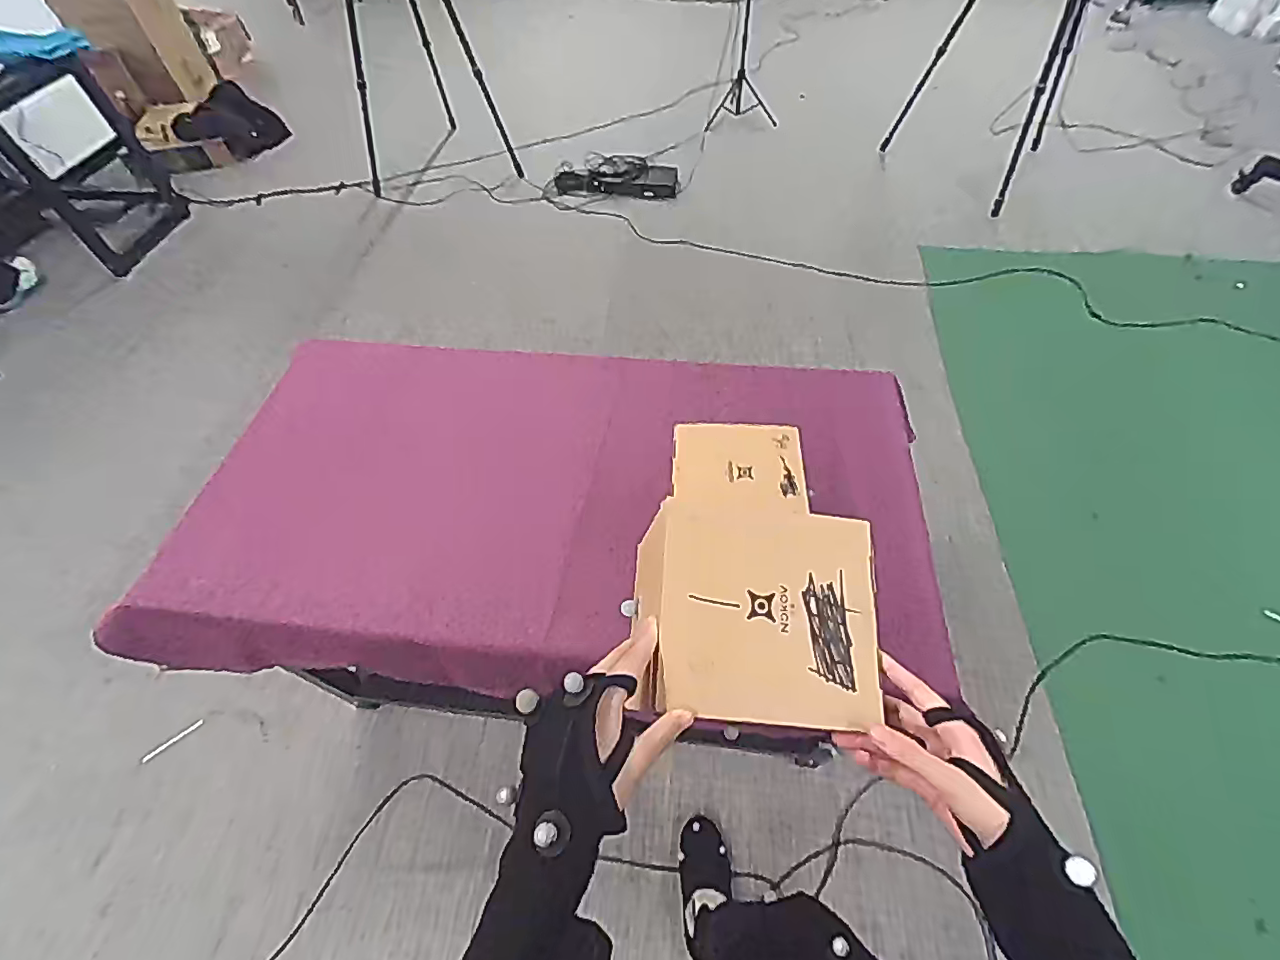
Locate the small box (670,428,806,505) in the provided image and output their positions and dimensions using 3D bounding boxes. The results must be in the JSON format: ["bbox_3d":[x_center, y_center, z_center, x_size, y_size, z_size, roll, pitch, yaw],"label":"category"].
[{"bbox_3d":[0.134,0.041,0.787,0.179,0.176,0.168,2,54,5],"label":"small box"}]

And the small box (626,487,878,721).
[{"bbox_3d":[0.089,0.121,0.496,0.179,0.176,0.168,7,67,-5],"label":"small box"}]
